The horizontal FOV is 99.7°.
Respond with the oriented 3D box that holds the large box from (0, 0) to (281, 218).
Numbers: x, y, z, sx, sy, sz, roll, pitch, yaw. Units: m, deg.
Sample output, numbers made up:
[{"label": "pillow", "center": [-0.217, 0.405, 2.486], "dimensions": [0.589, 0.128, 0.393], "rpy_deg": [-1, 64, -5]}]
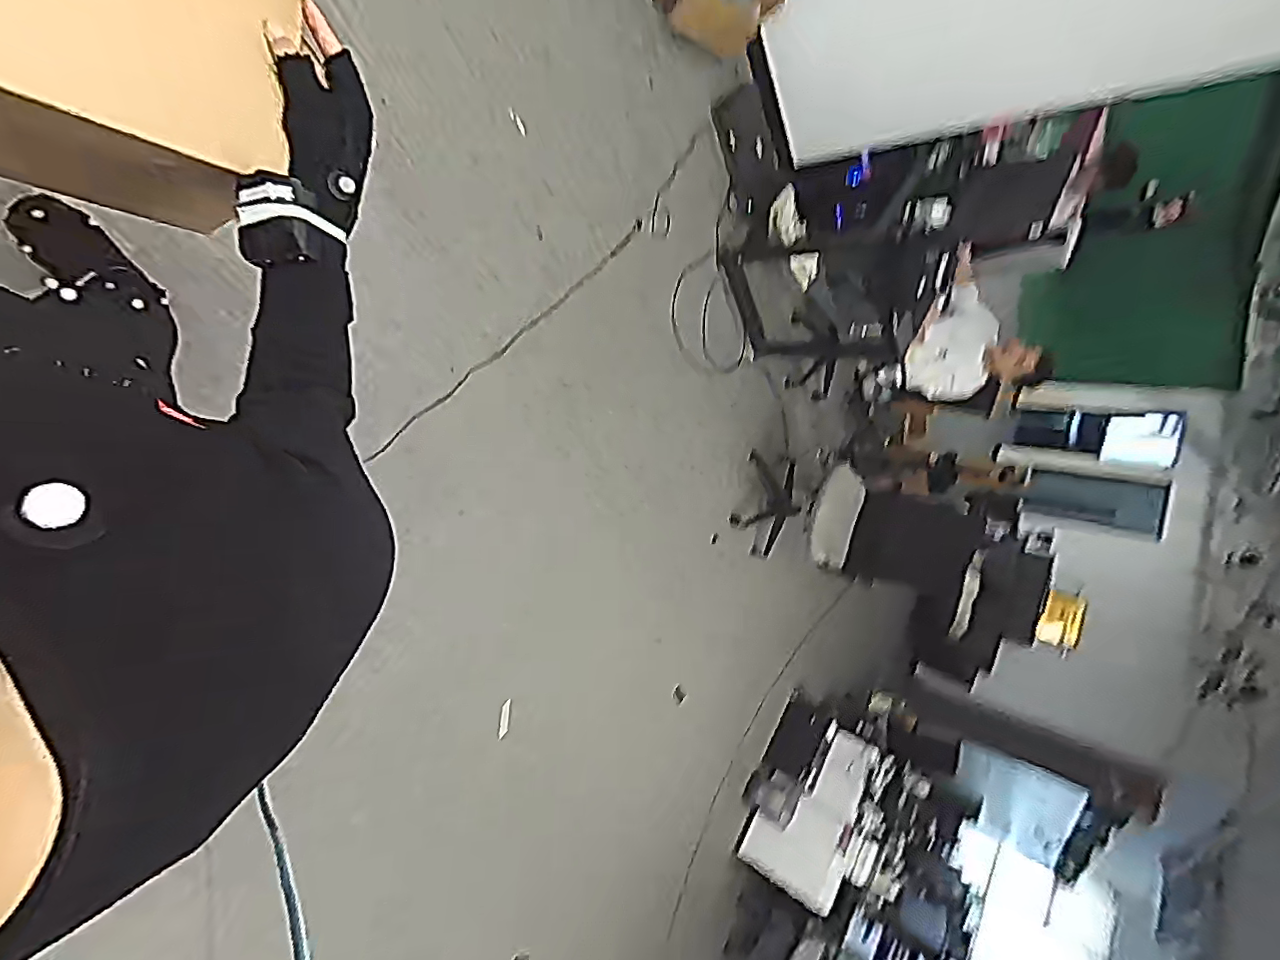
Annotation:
[{"label": "large box", "center": [-0.537, -0.431, 0.389], "dimensions": [0.408, 0.320, 0.320], "rpy_deg": [-2, 102, -49]}]
